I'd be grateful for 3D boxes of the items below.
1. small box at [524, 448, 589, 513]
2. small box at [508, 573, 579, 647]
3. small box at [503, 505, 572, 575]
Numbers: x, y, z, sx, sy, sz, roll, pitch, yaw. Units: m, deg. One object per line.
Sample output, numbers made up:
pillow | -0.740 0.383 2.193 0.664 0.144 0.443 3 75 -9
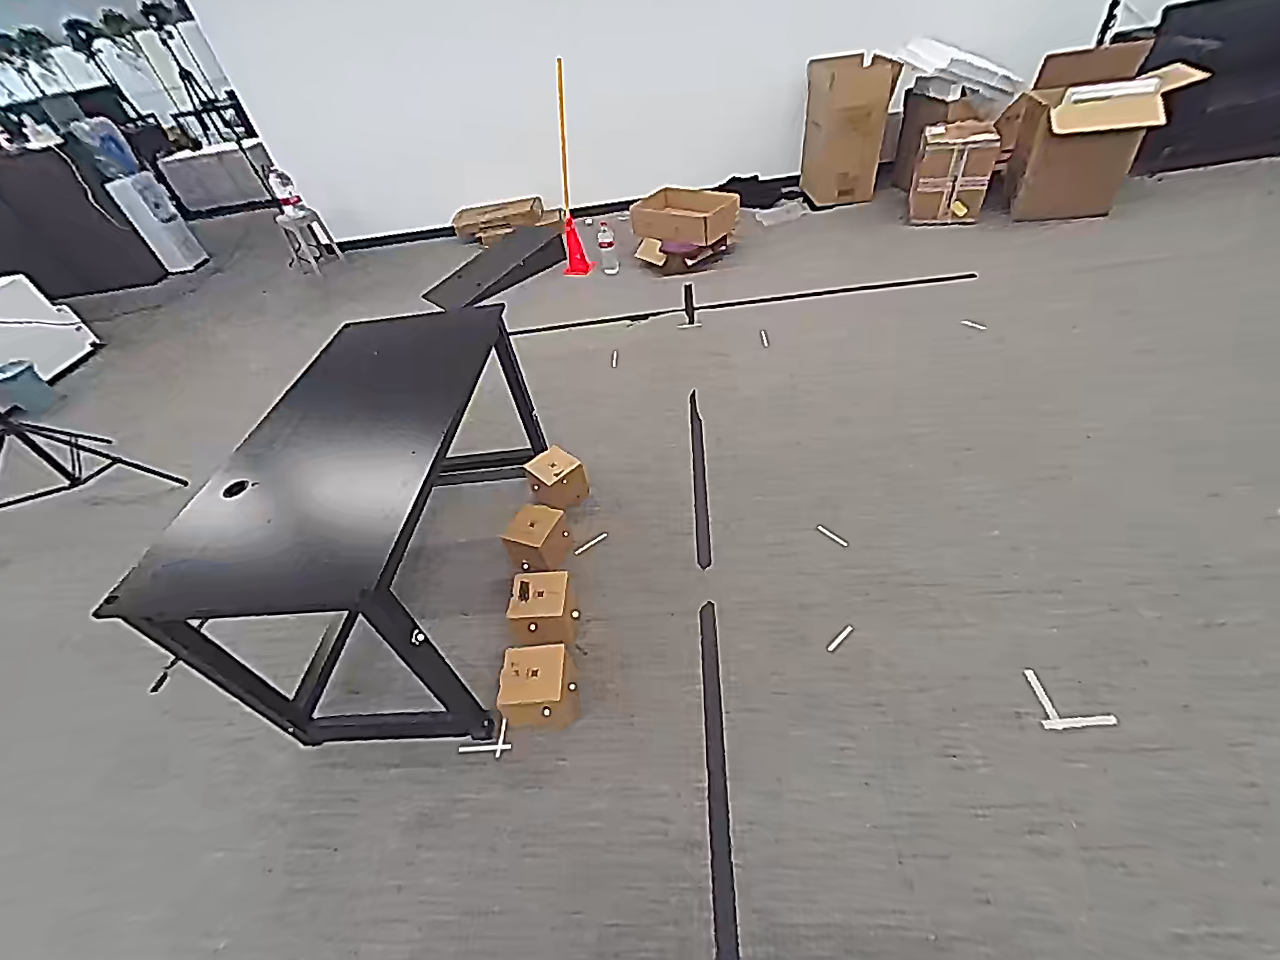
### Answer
small box | -0.330 0.008 2.164 0.179 0.176 0.168 31 58 35
small box | -0.303 0.419 1.731 0.179 0.176 0.168 -5 44 5
small box | -0.360 0.222 1.951 0.168 0.176 0.179 10 48 22
